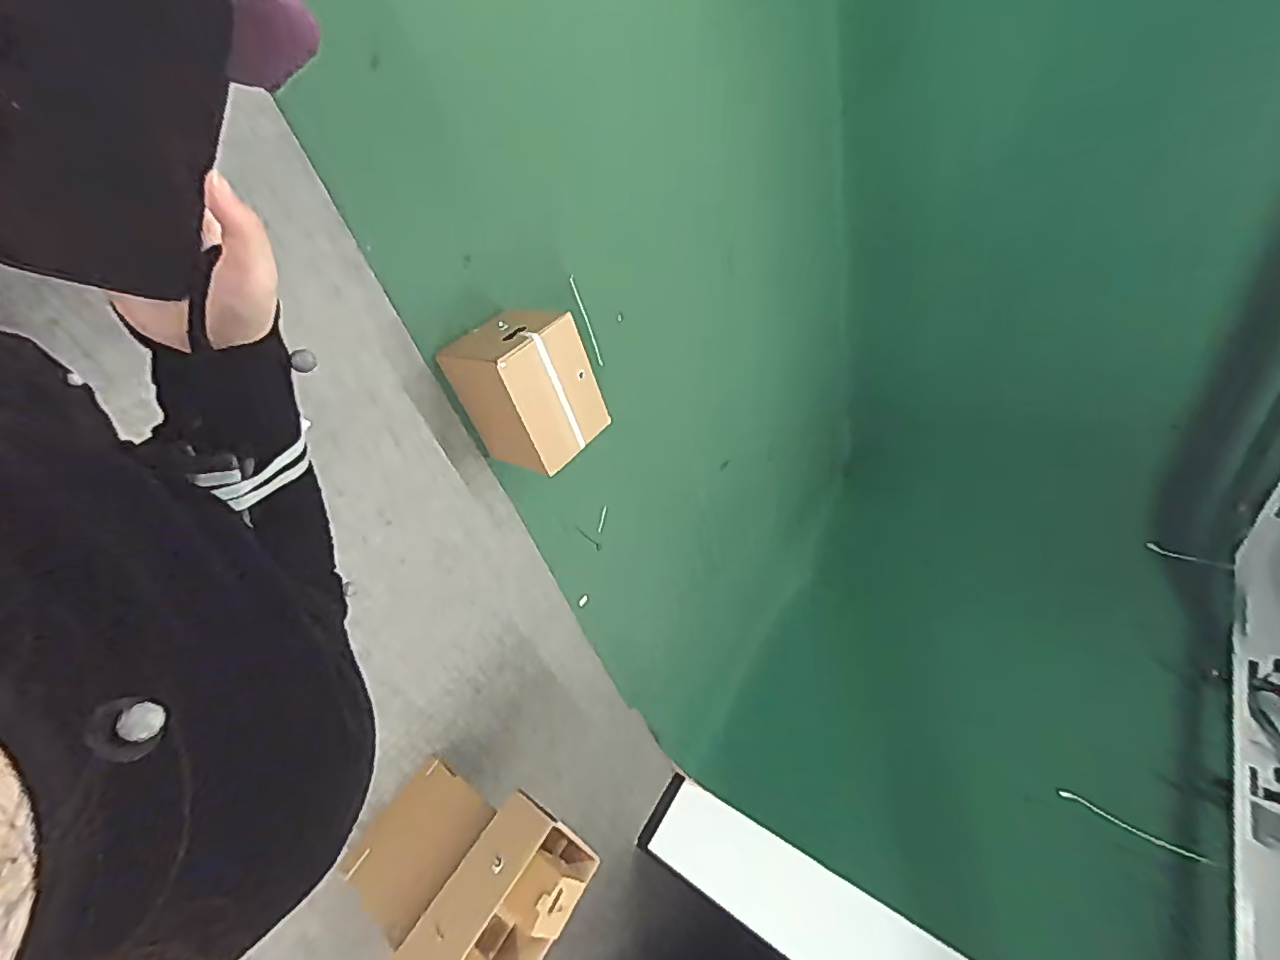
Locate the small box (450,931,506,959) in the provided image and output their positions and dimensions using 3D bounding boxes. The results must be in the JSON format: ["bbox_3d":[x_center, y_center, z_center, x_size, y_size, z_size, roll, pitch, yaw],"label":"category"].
[{"bbox_3d":[-0.463,1.452,1.552,0.168,0.176,0.179,-42,131,-35],"label":"small box"}]
